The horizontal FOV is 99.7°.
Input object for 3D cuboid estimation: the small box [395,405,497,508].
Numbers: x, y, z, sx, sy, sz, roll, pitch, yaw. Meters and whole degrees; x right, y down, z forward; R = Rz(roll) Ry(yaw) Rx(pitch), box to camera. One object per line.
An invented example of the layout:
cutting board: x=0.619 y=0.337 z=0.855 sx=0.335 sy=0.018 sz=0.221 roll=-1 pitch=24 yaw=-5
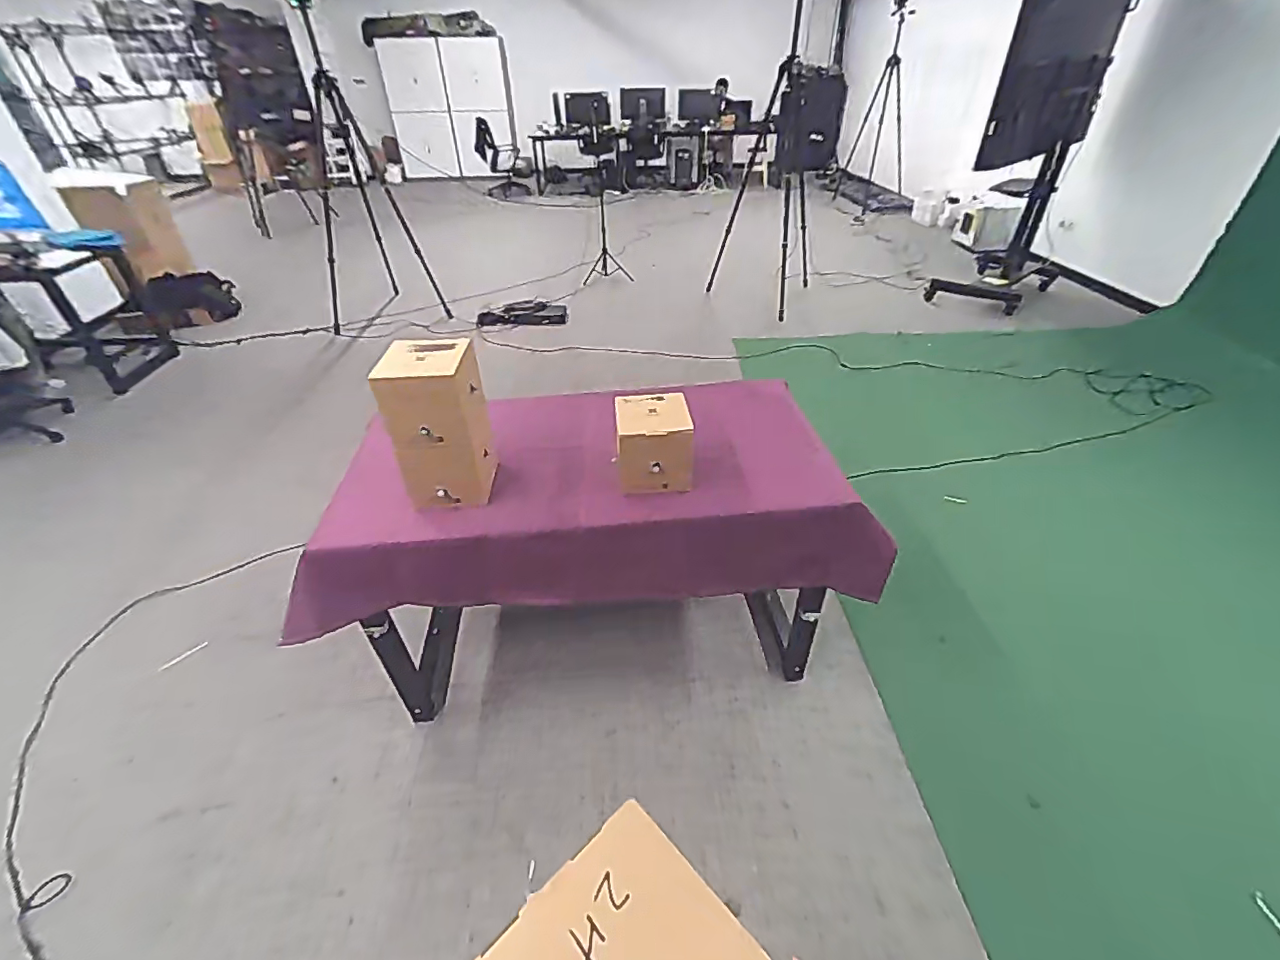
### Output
small box: x=-0.433 y=-0.055 z=1.242 sx=0.168 sy=0.176 sz=0.179 roll=-3 pitch=39 yaw=-2

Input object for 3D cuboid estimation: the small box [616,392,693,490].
small box: x=0.031 y=-0.087 z=1.268 sx=0.168 sy=0.176 sz=0.179 roll=-4 pitch=38 yaw=-3
